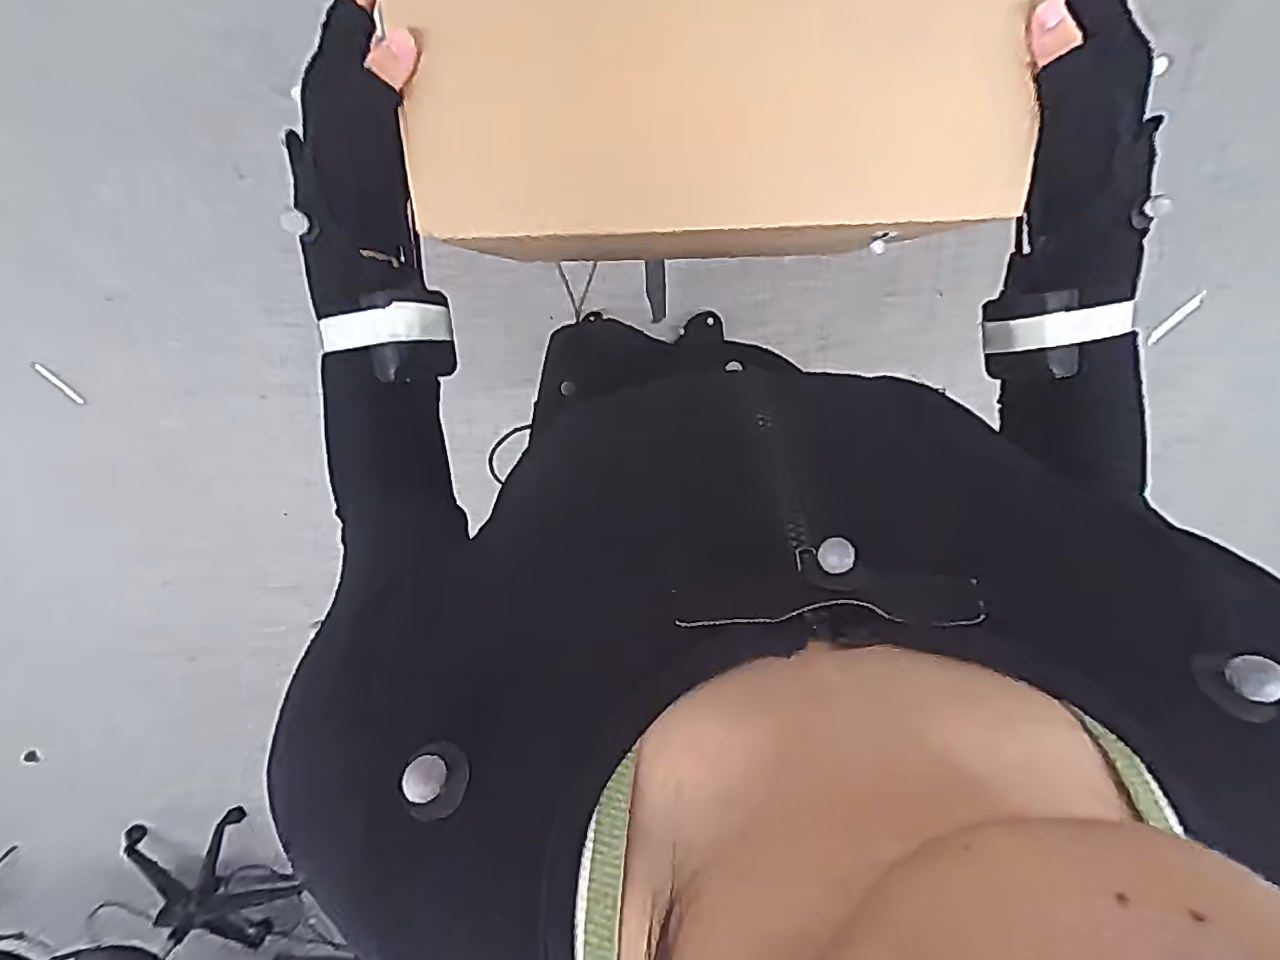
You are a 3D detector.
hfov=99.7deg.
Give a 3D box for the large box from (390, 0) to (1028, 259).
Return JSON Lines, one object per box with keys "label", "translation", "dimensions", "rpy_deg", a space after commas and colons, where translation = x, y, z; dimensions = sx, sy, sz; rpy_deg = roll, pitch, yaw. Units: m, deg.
{"label": "large box", "translation": [0.043, -0.371, 0.466], "dimensions": [0.408, 0.320, 0.320], "rpy_deg": [-3, 109, 1]}
